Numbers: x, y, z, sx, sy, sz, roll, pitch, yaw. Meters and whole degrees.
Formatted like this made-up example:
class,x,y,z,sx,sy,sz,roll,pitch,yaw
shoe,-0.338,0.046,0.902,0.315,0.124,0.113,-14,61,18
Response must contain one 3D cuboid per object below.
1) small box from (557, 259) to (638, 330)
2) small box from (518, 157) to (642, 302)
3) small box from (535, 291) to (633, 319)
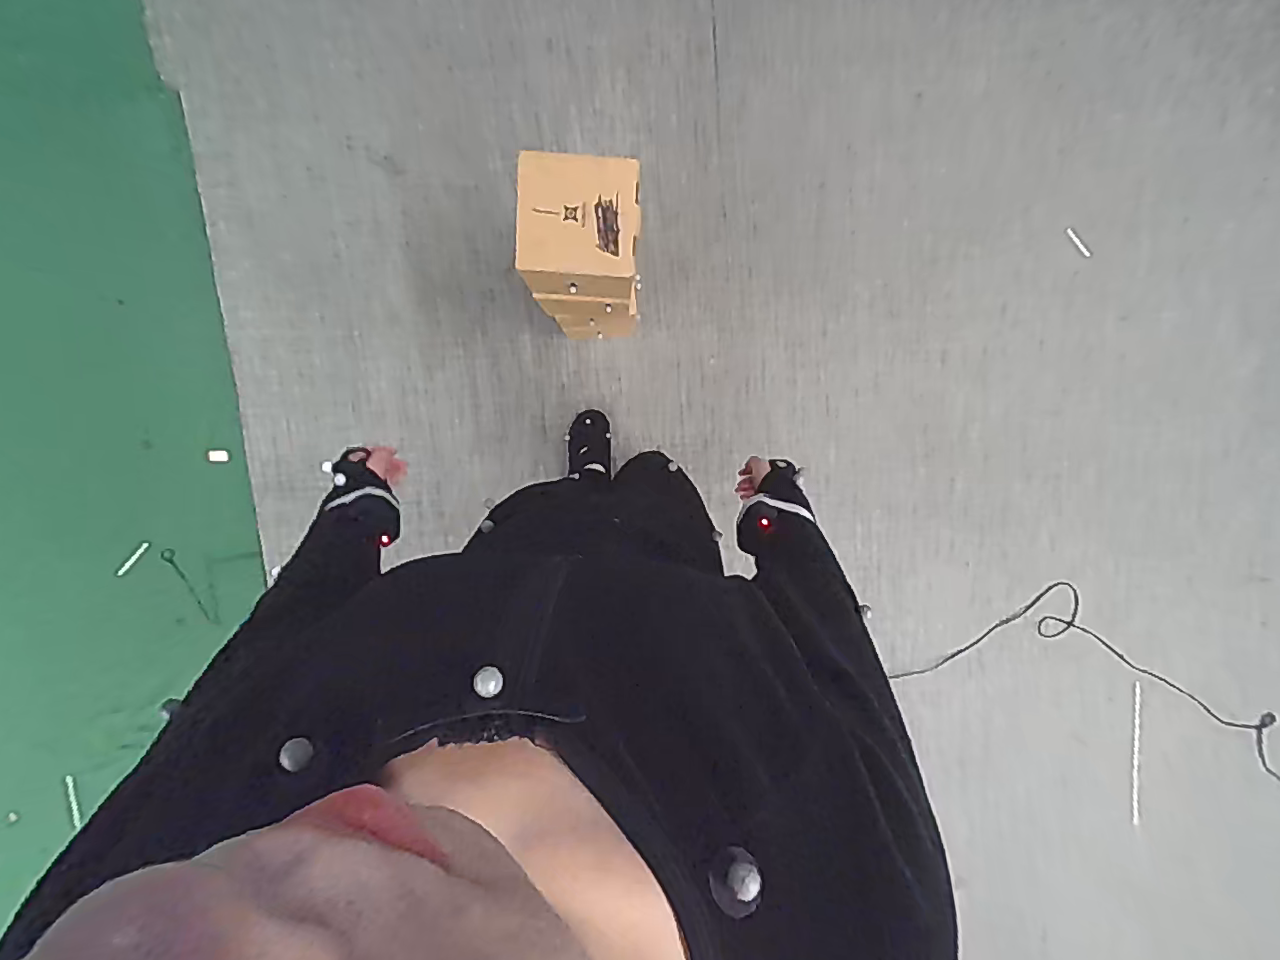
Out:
class,x,y,z,sx,sy,sz,roll,pitch,yaw
small box,-0.093,-0.429,1.198,0.179,0.176,0.168,-2,98,-2
small box,-0.091,-0.391,0.874,0.179,0.176,0.168,4,97,-1
small box,-0.100,-0.408,1.037,0.179,0.176,0.168,1,97,-3
